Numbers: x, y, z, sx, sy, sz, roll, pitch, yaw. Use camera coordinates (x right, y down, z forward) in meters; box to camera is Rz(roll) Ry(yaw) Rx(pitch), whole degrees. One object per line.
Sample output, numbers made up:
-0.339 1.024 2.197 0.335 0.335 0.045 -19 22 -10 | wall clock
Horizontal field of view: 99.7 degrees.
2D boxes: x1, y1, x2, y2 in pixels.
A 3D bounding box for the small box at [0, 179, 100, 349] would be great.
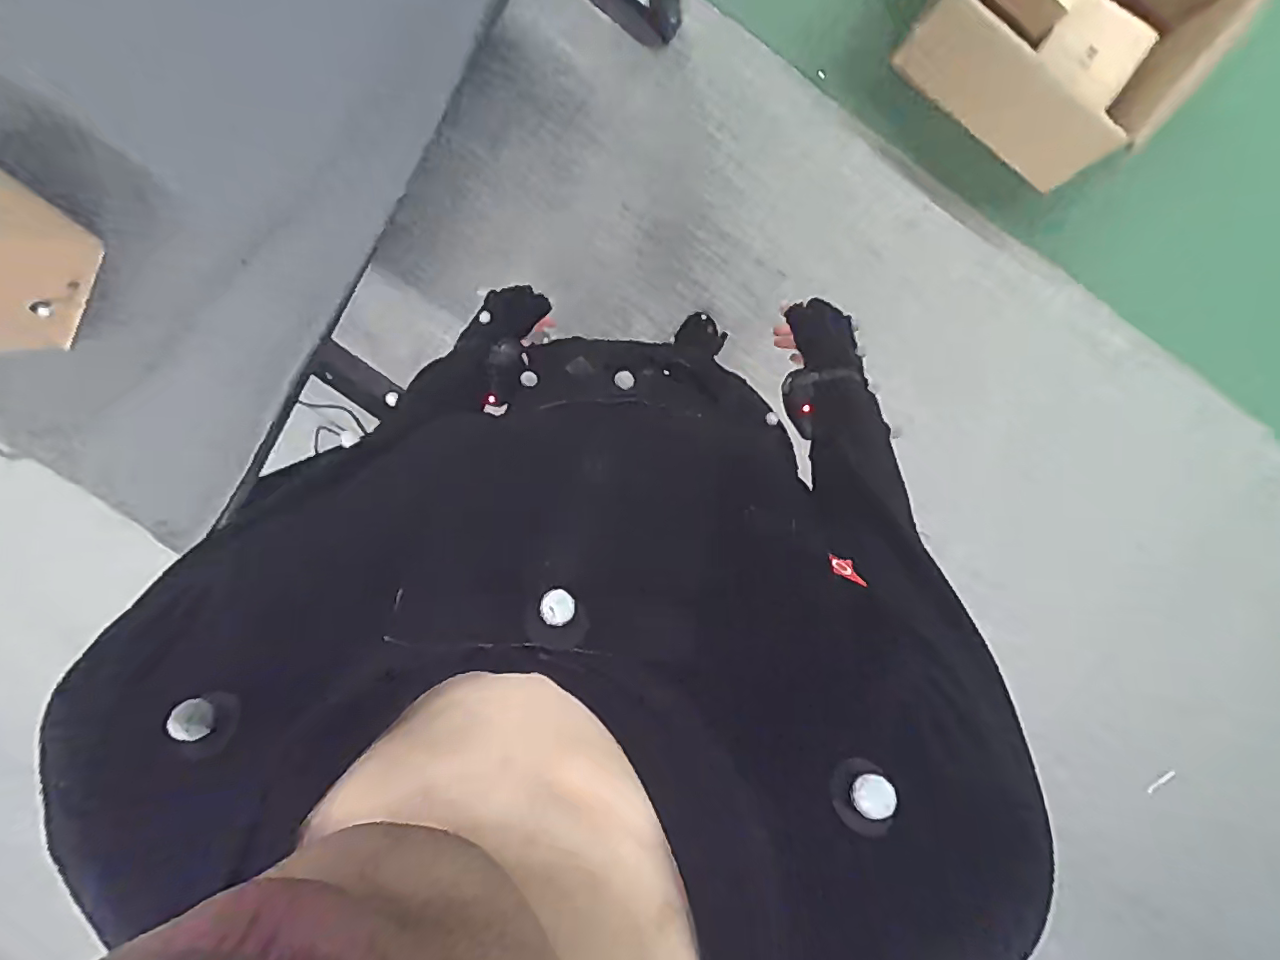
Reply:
-0.811 -0.263 0.629 0.179 0.176 0.168 36 107 -8 | small box
